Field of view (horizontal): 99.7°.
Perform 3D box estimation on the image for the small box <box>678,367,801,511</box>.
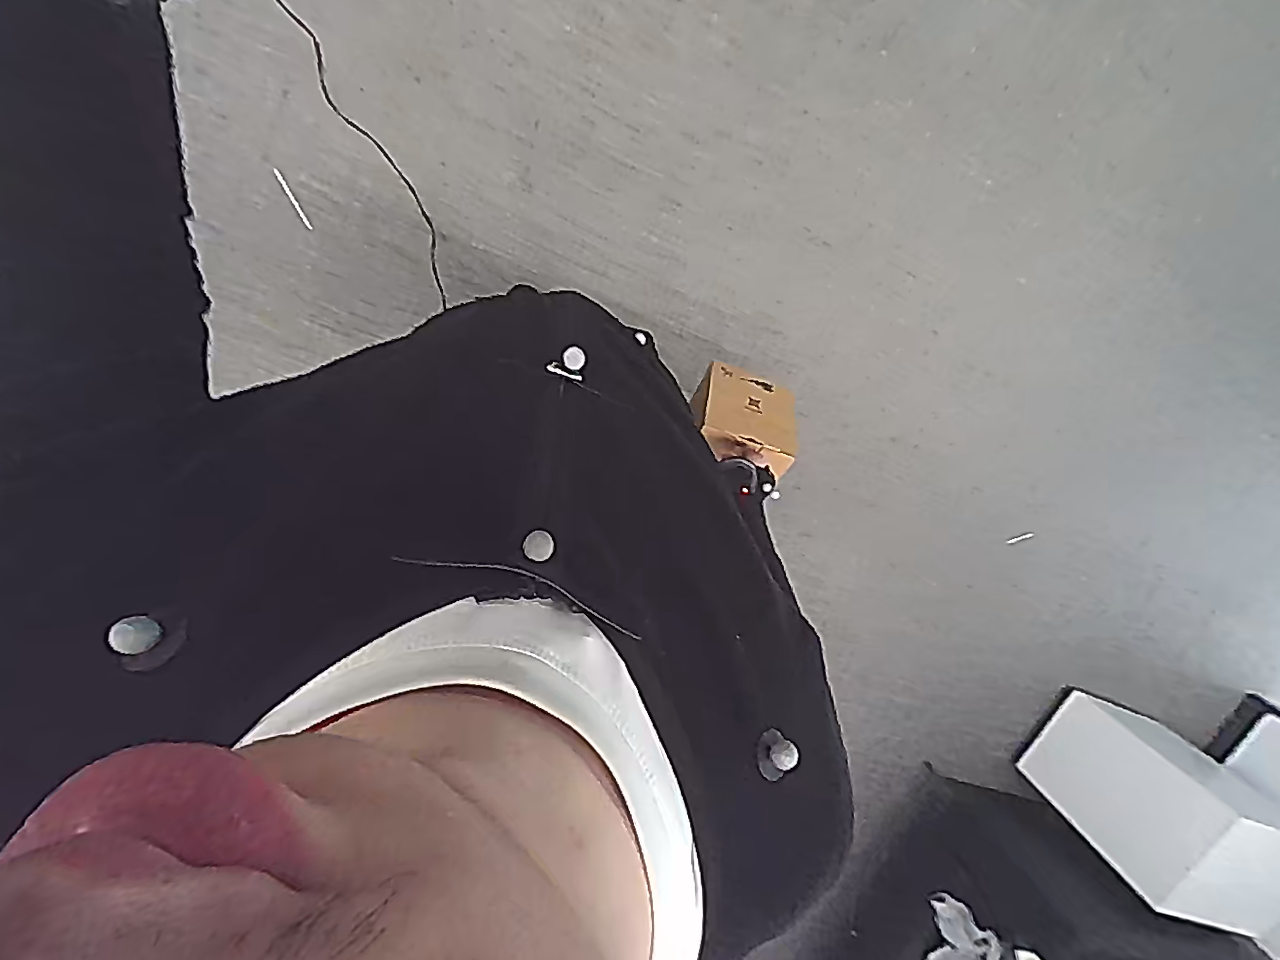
[{"bbox_3d":[0.175,-0.068,0.981,0.168,0.179,0.176,16,140,-7],"label":"small box"}]
